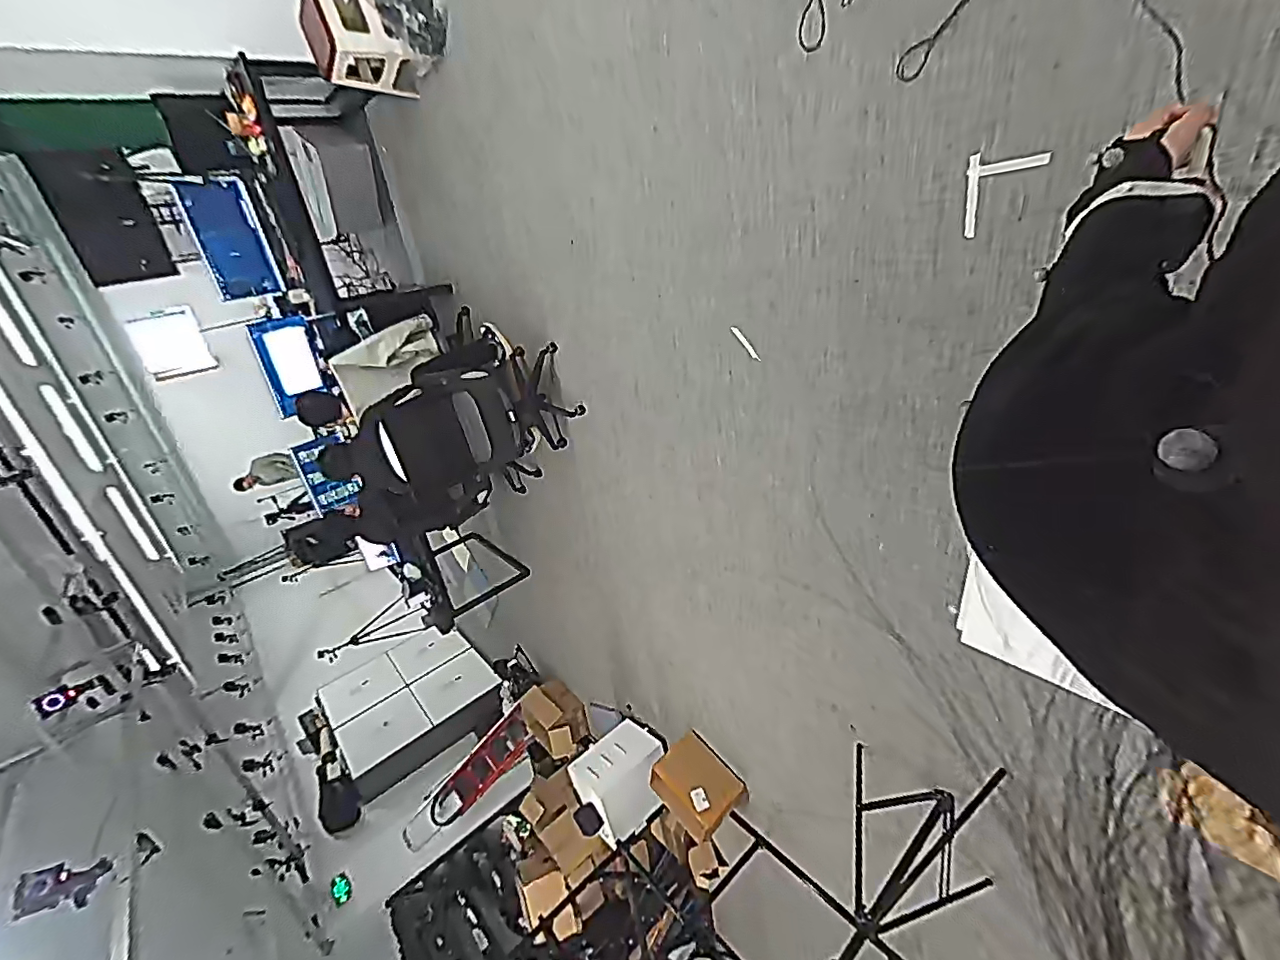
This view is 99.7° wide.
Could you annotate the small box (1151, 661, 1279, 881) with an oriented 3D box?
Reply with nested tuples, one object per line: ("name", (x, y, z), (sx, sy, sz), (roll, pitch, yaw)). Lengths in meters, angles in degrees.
("small box", (0.801, 0.369, 0.686), (0.168, 0.176, 0.179), (25, 132, 44))
